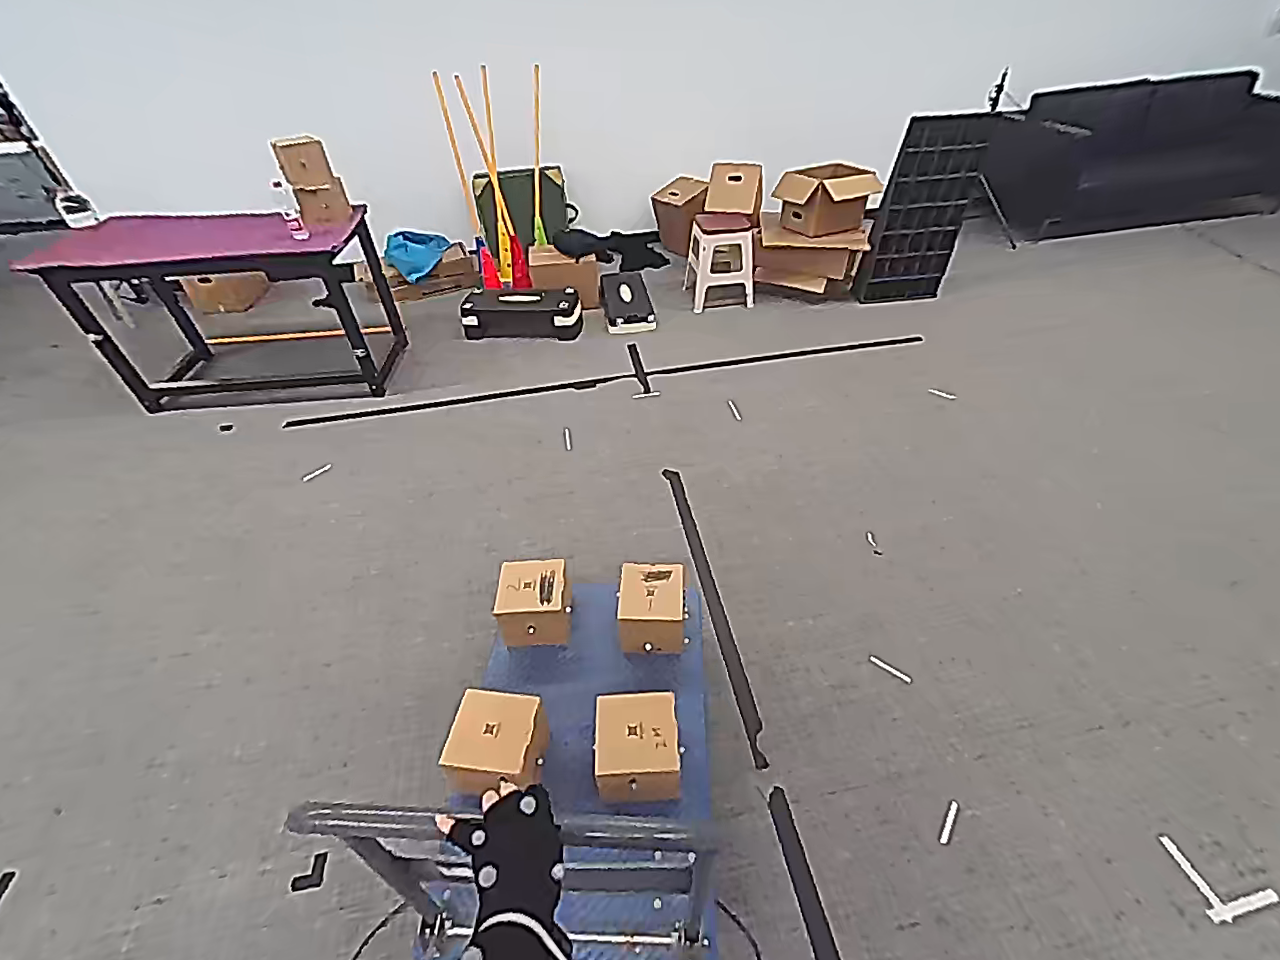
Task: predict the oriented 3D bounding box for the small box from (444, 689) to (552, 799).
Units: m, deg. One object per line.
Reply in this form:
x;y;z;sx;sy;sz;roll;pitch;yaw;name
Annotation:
-0.307;0.592;1.210;0.179;0.176;0.168;4;42;5;small box

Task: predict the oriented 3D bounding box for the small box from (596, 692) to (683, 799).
0.002;0.589;1.196;0.179;0.176;0.168;-3;43;0;small box

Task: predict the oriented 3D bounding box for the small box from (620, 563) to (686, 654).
0.039;0.345;1.459;0.168;0.176;0.179;1;44;4;small box
